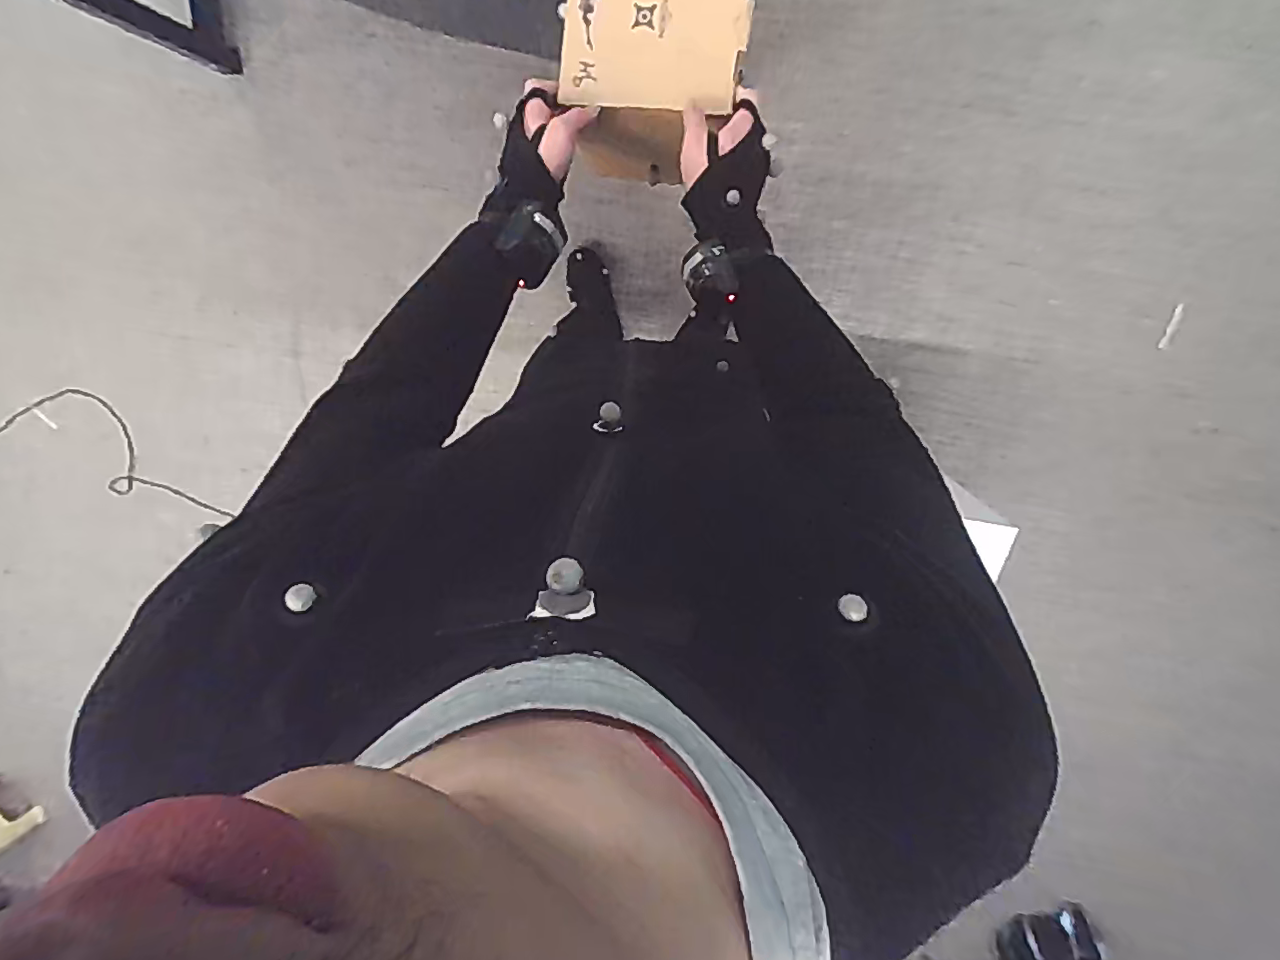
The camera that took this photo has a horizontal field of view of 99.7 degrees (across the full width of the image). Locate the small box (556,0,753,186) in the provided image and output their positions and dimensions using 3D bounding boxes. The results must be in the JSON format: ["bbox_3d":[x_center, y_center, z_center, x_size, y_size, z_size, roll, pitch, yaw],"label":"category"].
[{"bbox_3d":[0.020,-0.443,0.586,0.179,0.176,0.168,8,96,4],"label":"small box"}]
